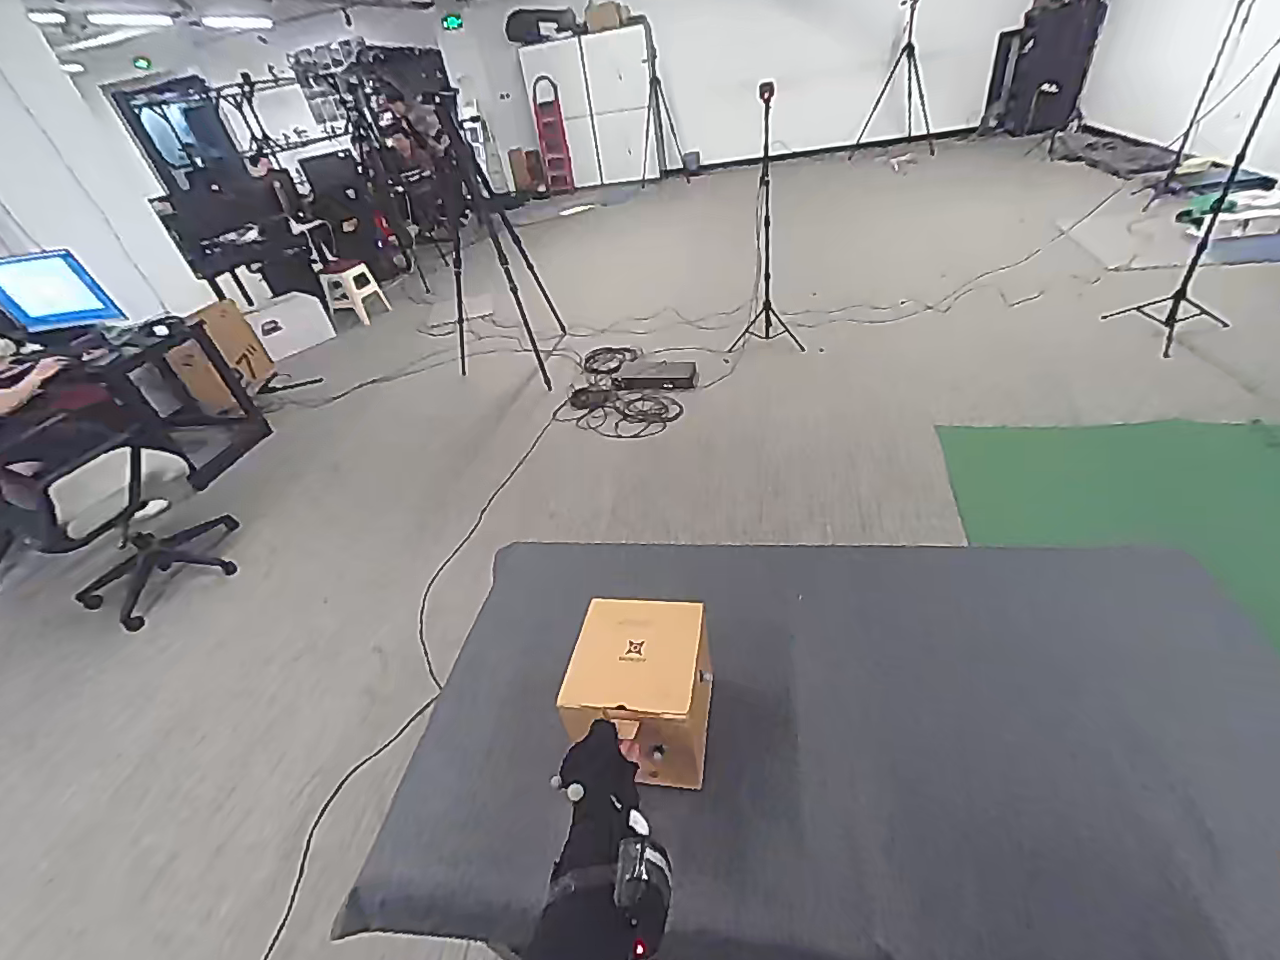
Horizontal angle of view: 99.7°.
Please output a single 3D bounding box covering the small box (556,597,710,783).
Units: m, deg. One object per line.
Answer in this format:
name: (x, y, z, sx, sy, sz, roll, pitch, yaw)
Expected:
small box: (0.004, 0.286, 0.745, 0.168, 0.176, 0.179, 0, 34, 14)
